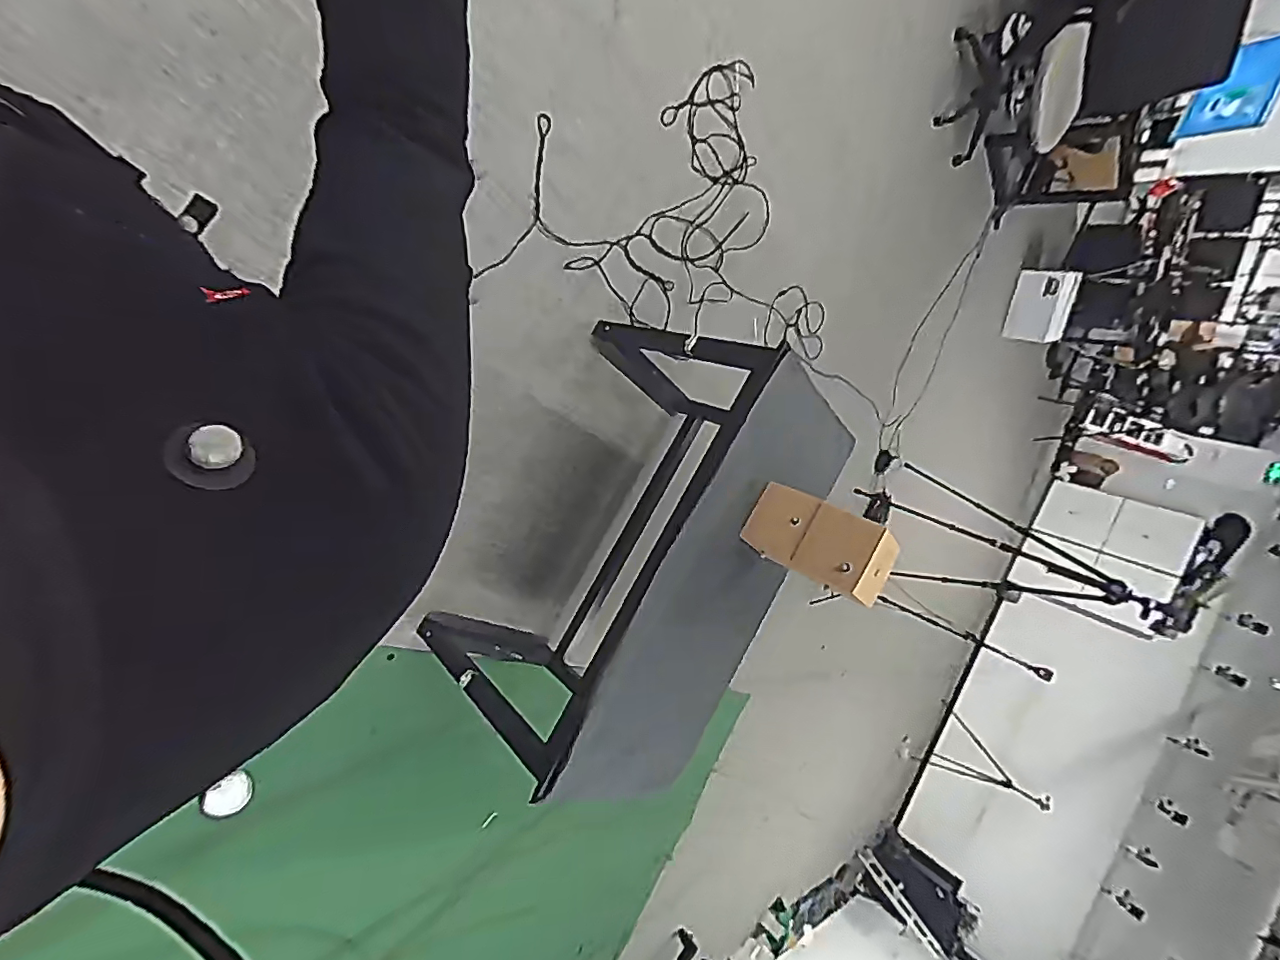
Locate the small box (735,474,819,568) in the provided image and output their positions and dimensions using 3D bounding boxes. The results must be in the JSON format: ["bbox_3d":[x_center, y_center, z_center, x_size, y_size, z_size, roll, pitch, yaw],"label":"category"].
[{"bbox_3d":[0.388,0.107,1.466,0.168,0.176,0.179,38,81,-47],"label":"small box"}]

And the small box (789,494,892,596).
[{"bbox_3d":[0.495,0.160,1.352,0.168,0.176,0.179,35,82,-48],"label":"small box"}]
